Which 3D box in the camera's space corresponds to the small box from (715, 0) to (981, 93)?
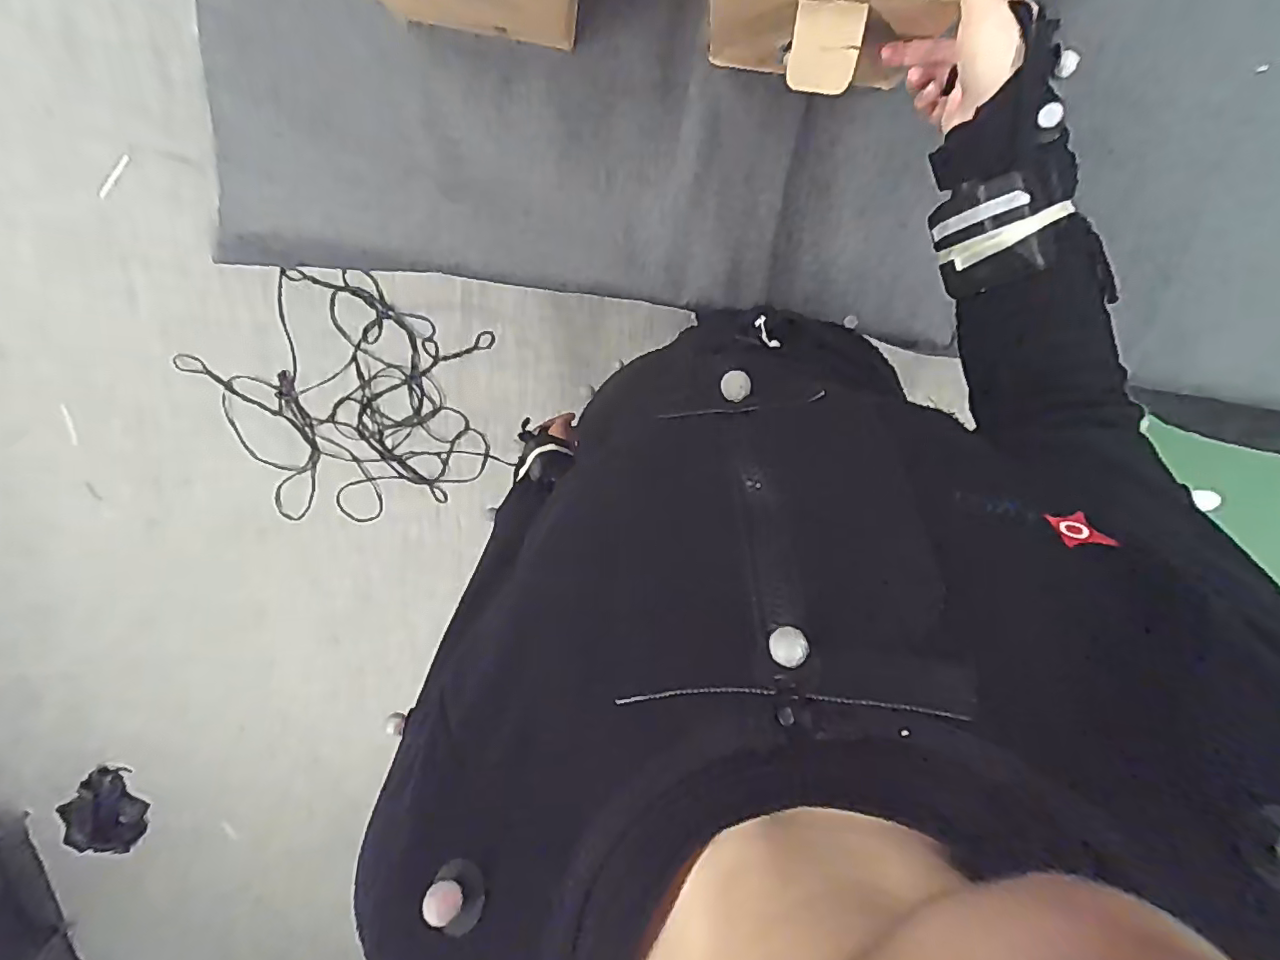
[{"bbox_3d":[0.147,-0.405,0.374,0.168,0.176,0.179,10,113,3],"label":"small box"}]
